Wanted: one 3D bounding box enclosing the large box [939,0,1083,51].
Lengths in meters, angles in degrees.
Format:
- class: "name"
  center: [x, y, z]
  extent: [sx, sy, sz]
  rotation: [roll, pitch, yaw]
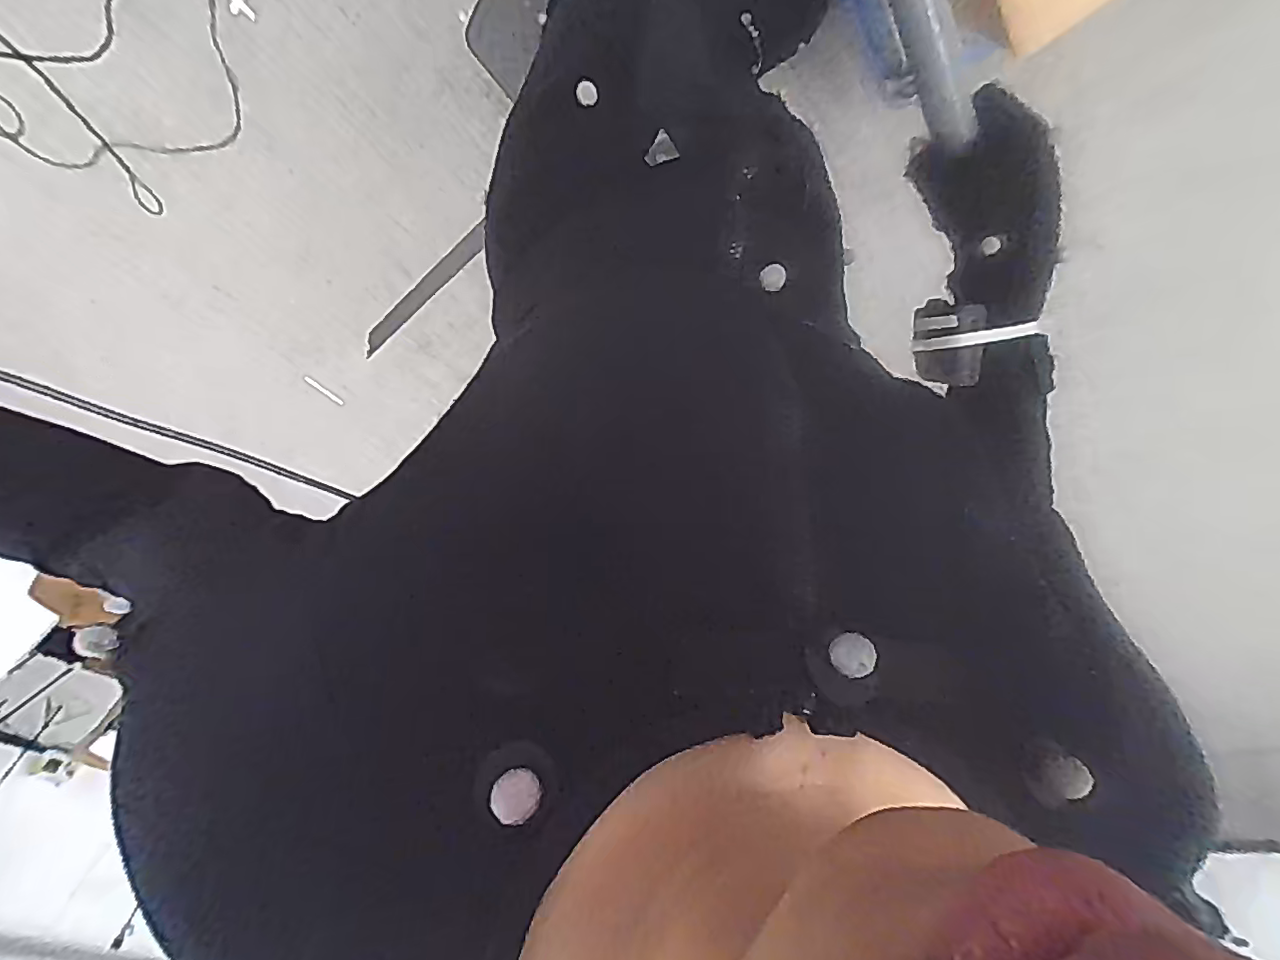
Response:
- class: "large box"
  center: [0.441, -0.792, 0.568]
  extent: [0.320, 0.320, 0.408]
  rotation: [-26, 129, 34]
